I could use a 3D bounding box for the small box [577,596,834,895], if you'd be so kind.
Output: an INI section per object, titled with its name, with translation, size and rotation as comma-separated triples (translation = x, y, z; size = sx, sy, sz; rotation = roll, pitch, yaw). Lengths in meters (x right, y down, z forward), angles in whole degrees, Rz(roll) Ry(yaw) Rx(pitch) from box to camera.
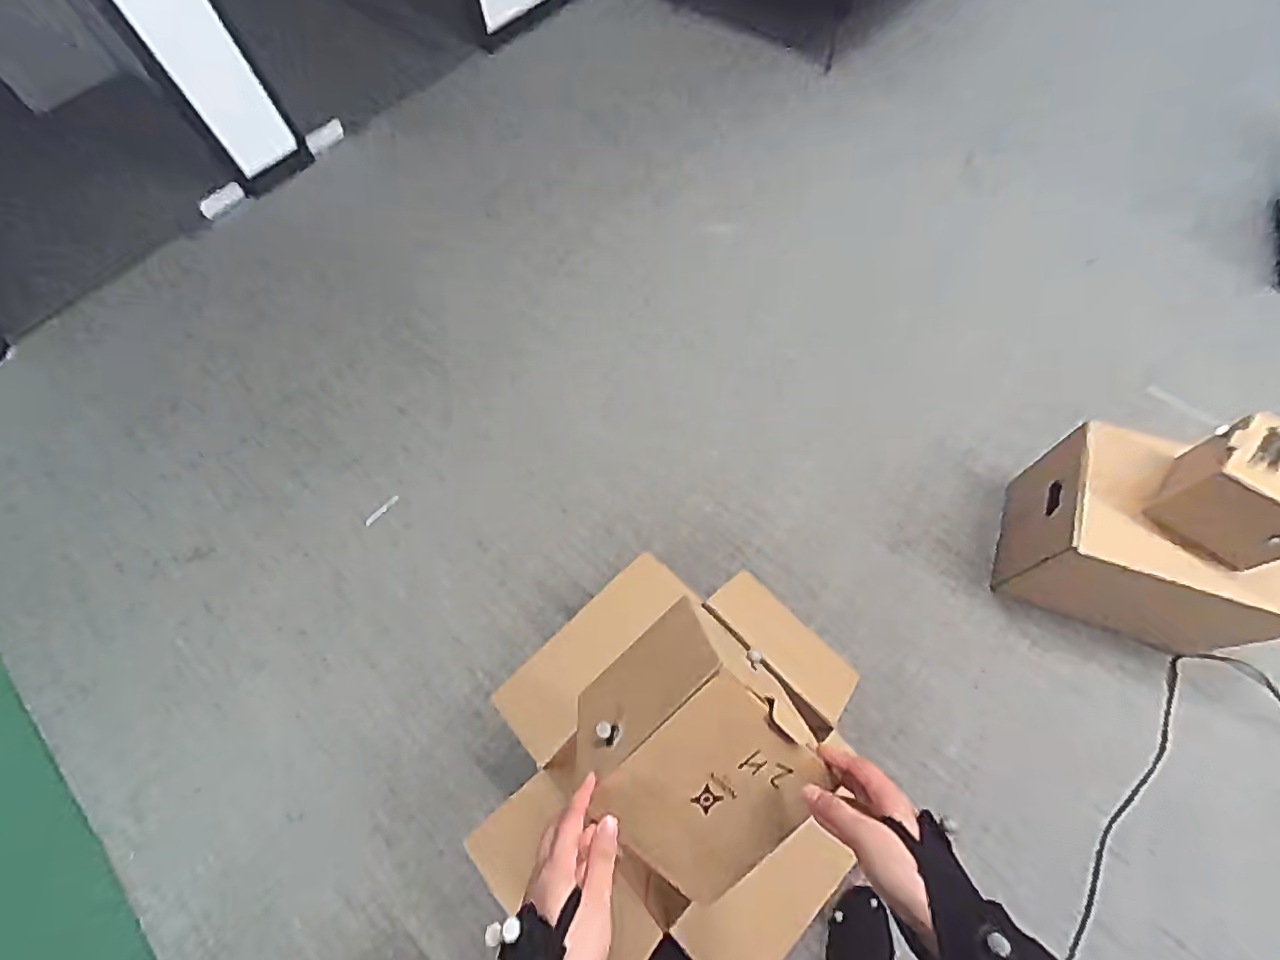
[small box]
translation = 0.054, 0.255, 0.557
size = 0.179, 0.176, 0.168
rotation = -45, 101, 1
